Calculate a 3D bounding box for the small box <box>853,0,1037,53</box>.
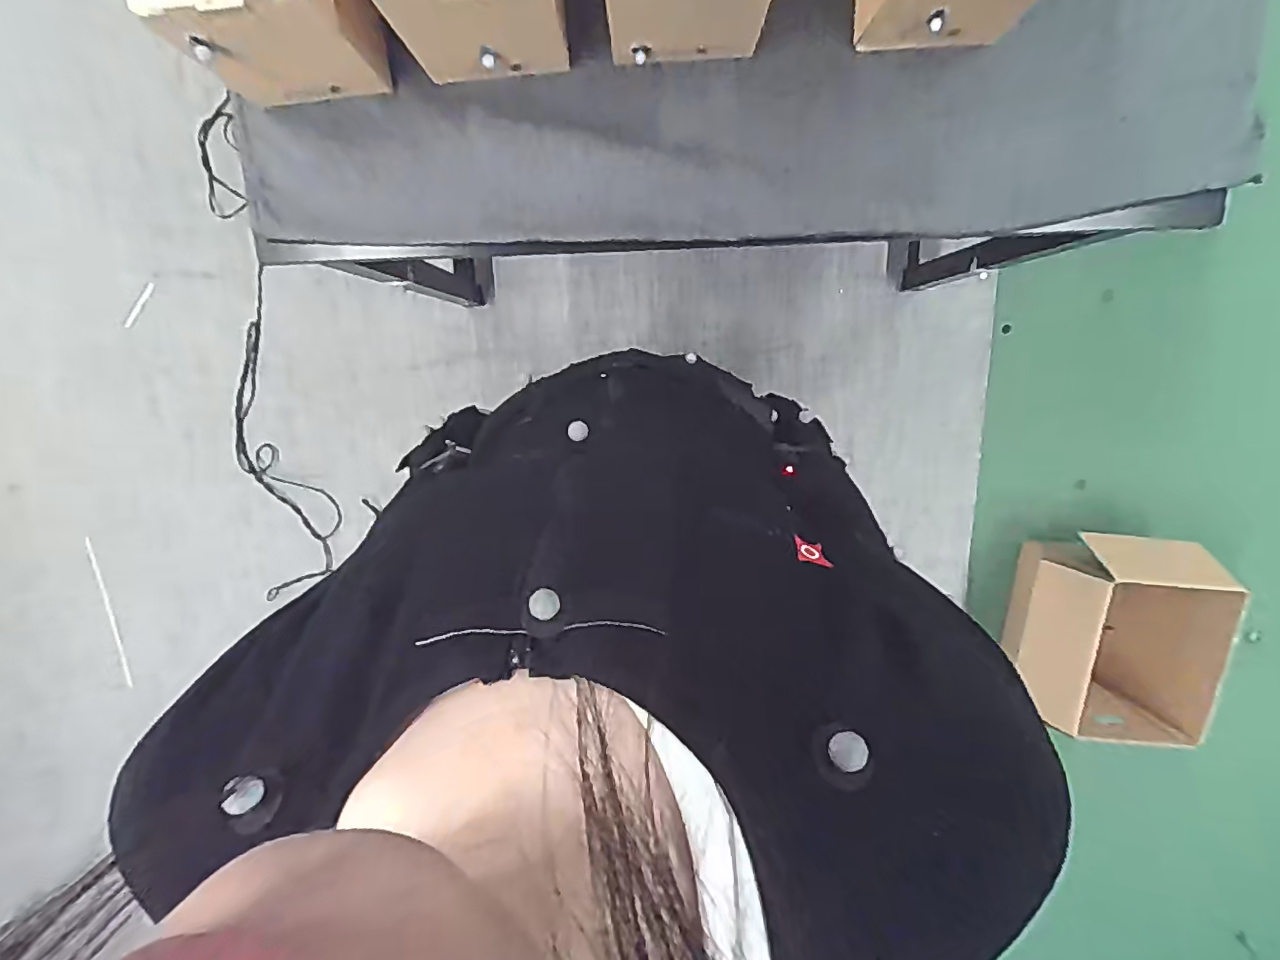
[{"bbox_3d":[0.325,-0.572,0.537,0.168,0.176,0.179,-2,102,1],"label":"small box"}]
